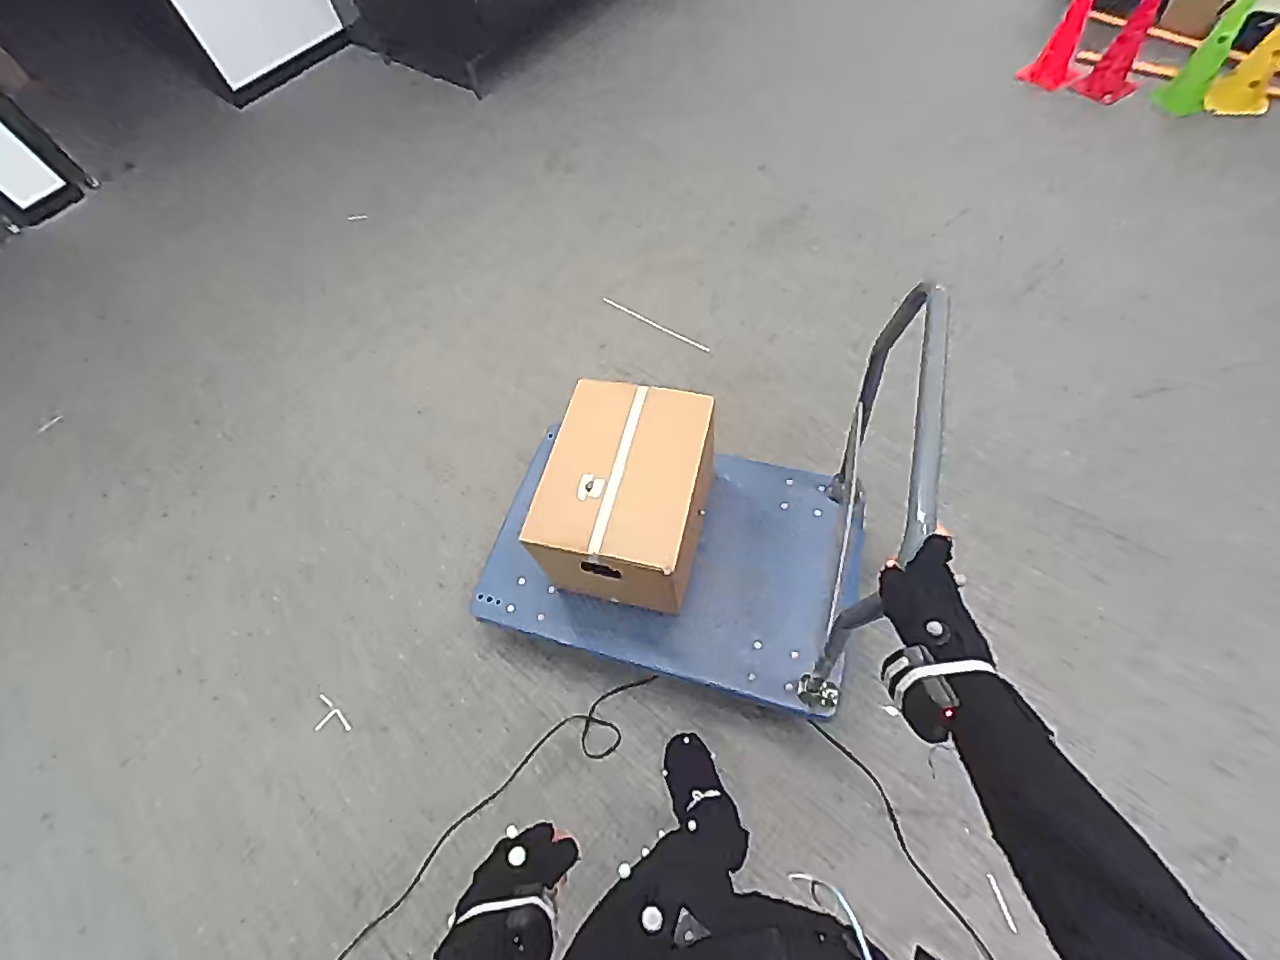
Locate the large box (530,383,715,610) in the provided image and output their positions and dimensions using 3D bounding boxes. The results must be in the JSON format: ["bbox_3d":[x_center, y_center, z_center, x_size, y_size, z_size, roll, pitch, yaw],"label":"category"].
[{"bbox_3d":[-0.013,0.041,1.244,0.320,0.320,0.408,9,64,12],"label":"large box"}]
